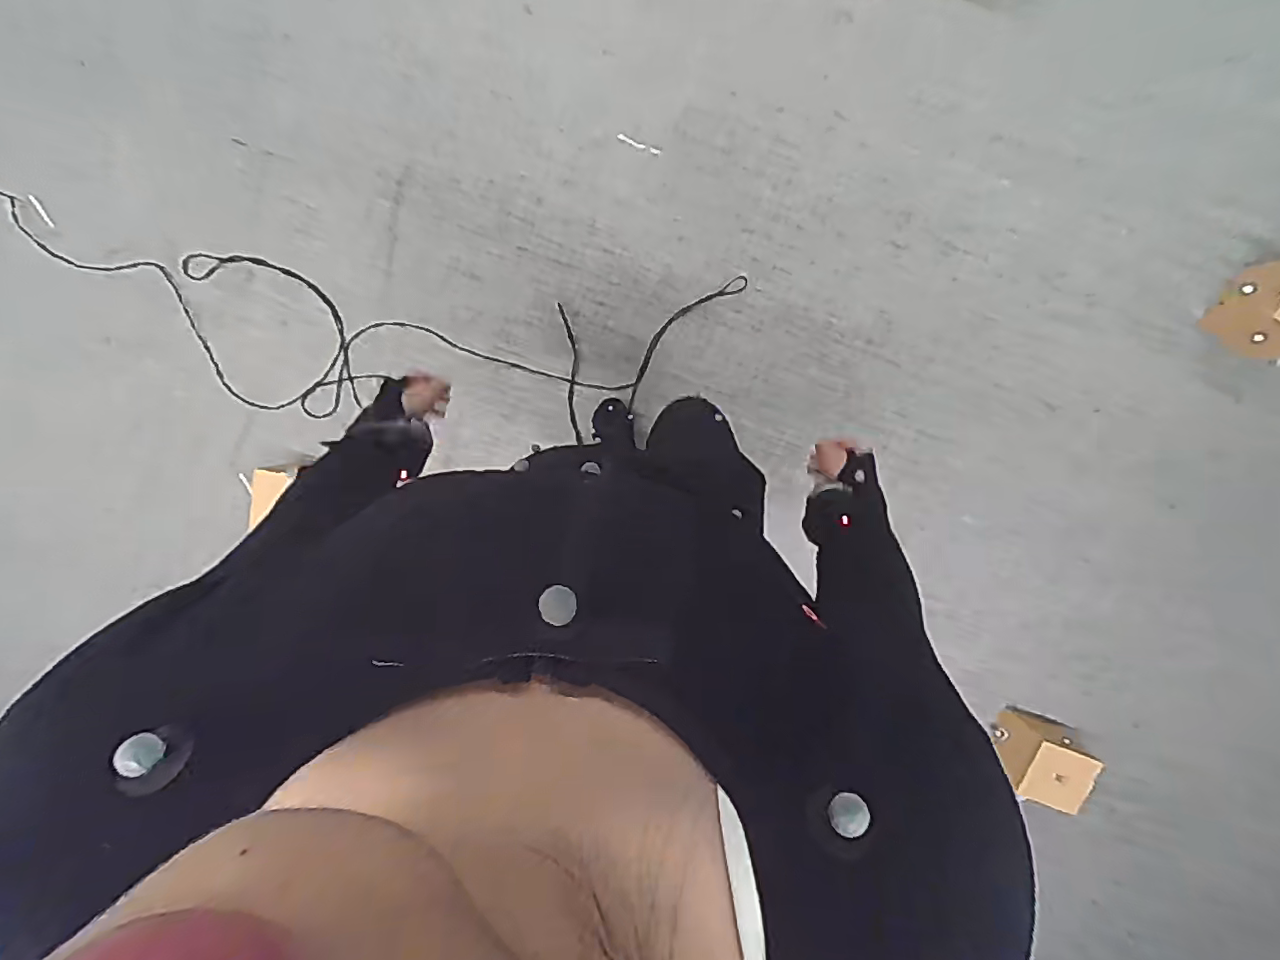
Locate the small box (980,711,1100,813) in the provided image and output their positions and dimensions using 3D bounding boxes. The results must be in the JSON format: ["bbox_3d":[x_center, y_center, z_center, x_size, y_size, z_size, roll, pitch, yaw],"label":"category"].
[{"bbox_3d":[1.111,0.780,1.515,0.179,0.176,0.168,20,98,-1],"label":"small box"}]

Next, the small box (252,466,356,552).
[{"bbox_3d":[-0.872,0.070,1.418,0.168,0.176,0.179,11,98,-1],"label":"small box"}]

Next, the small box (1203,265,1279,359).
[{"bbox_3d":[1.557,-0.406,1.312,0.179,0.176,0.168,32,98,-4],"label":"small box"}]
